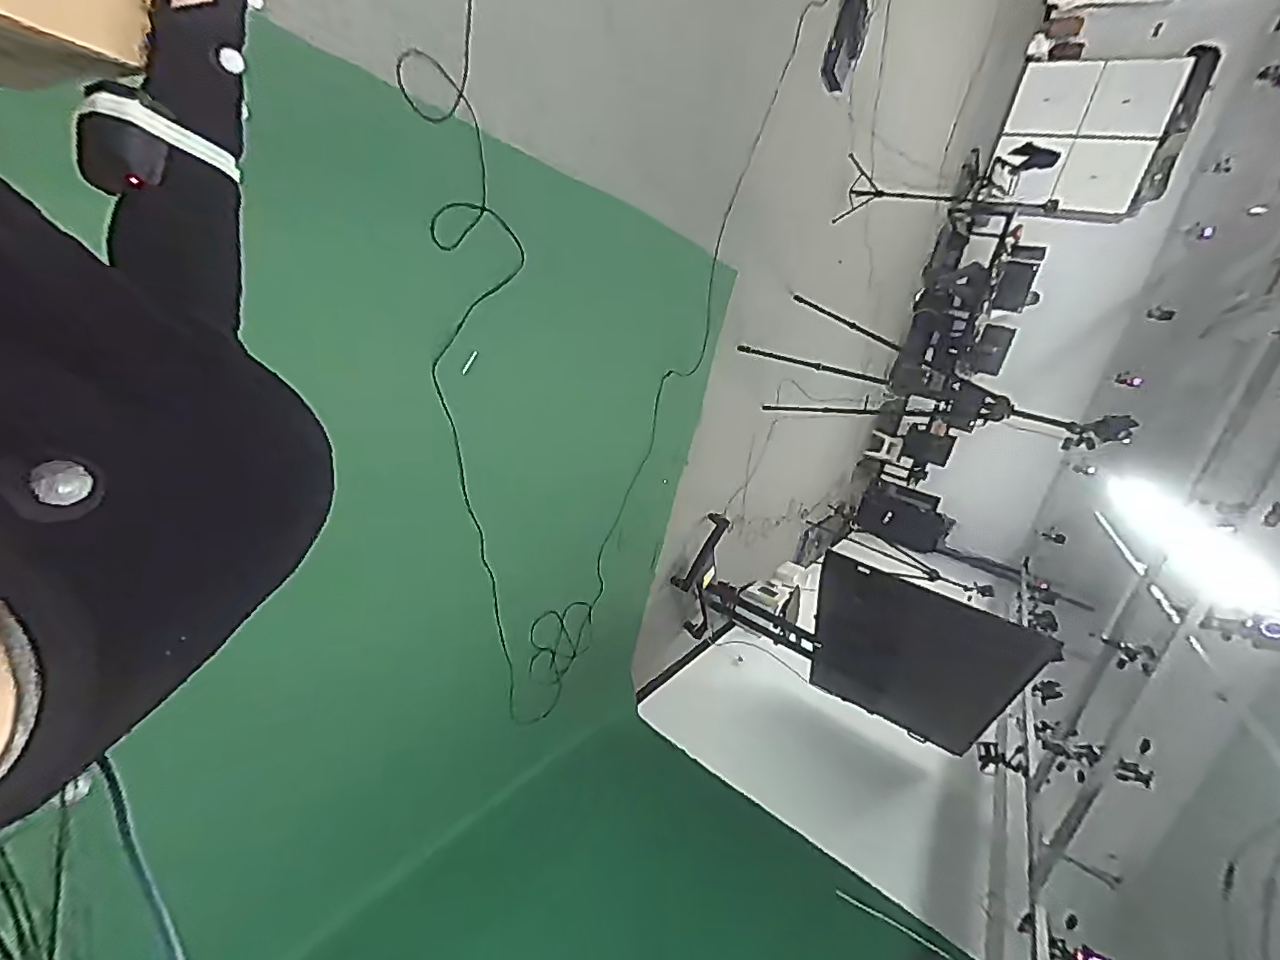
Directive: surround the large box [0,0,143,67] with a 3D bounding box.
[{"bbox_3d":[-0.571,-0.470,0.263,0.408,0.320,0.320,-17,121,-58],"label":"large box"}]
